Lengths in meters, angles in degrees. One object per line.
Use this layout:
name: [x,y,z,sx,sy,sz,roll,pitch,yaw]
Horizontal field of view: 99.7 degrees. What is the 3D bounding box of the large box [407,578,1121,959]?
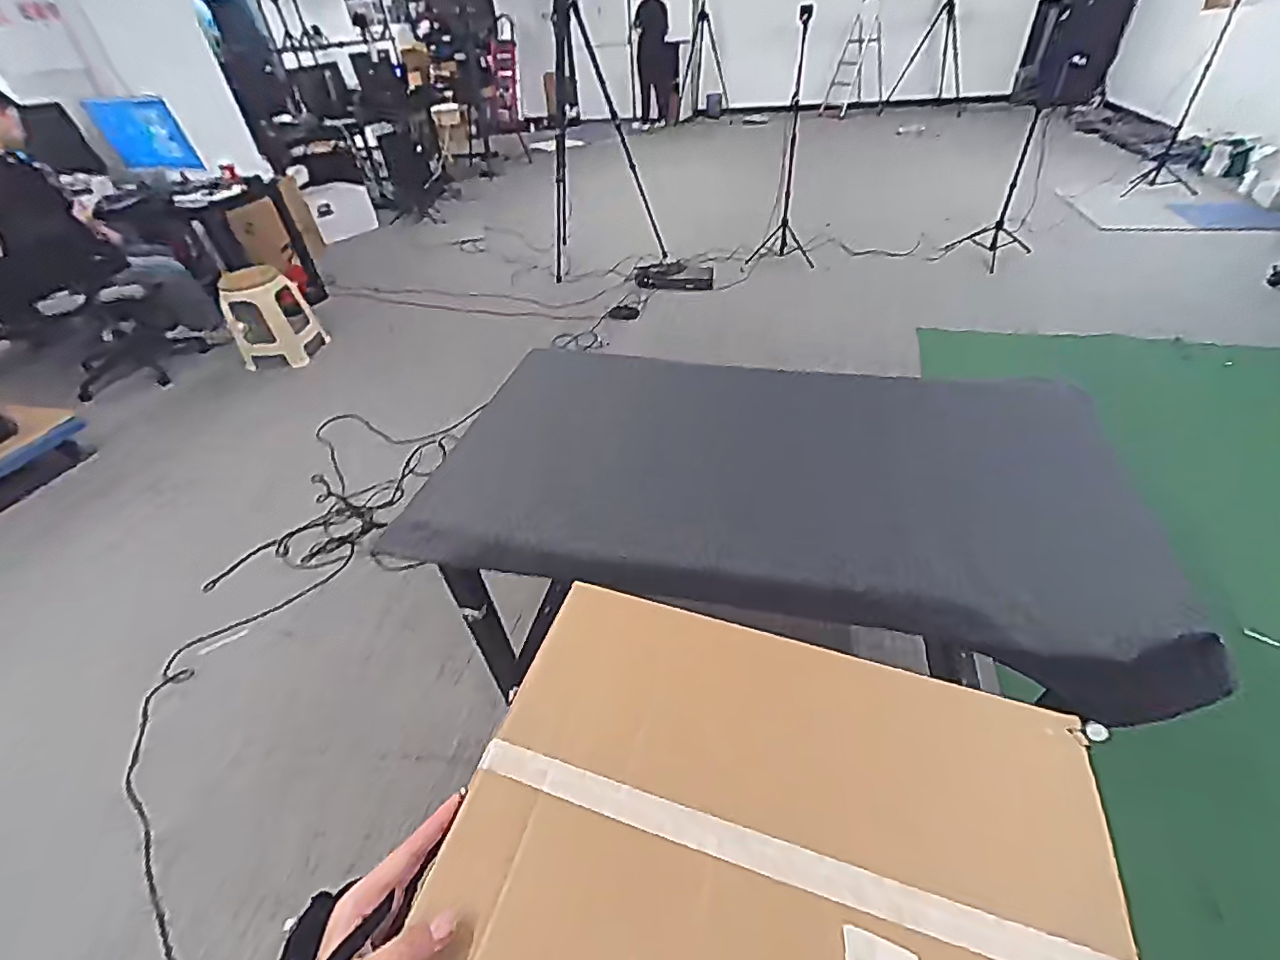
large box: [0.090,0.337,0.465,0.408,0.320,0.320,13,47,13]
